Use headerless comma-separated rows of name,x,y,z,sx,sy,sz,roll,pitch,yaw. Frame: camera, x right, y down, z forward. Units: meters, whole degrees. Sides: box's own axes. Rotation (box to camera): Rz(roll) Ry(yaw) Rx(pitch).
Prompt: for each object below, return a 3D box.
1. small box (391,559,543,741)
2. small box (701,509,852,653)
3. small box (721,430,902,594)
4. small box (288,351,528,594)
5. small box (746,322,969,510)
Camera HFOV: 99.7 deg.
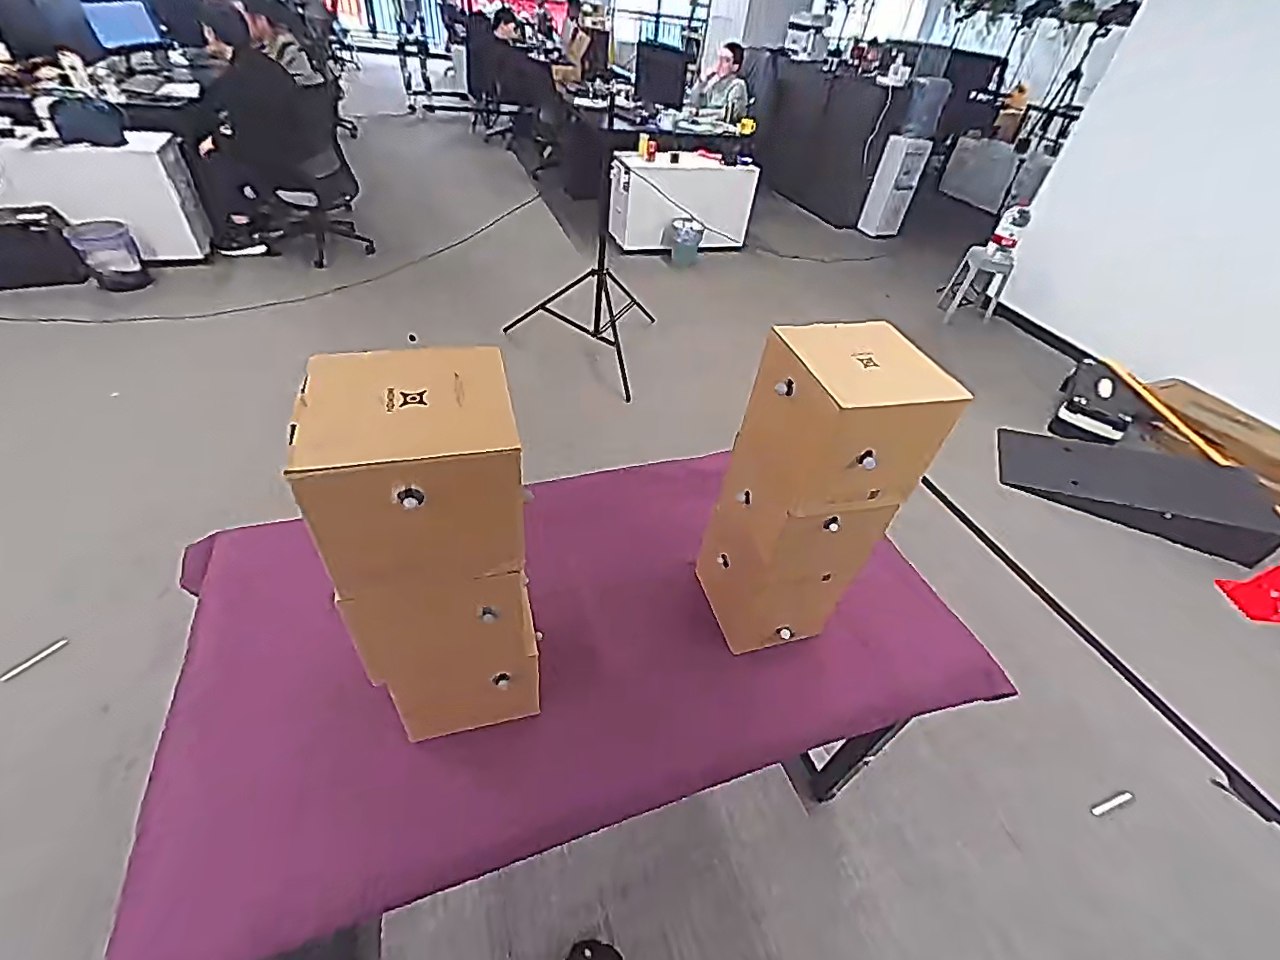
small box,-0.233,0.232,0.750,0.179,0.176,0.168,-7,44,-16
small box,0.214,0.156,0.900,0.168,0.176,0.179,-8,45,-16
small box,0.231,0.039,0.787,0.168,0.176,0.179,-6,43,-14
small box,-0.210,-0.008,0.530,0.179,0.176,0.168,-7,45,-17
small box,0.250,-0.076,0.673,0.168,0.176,0.179,-7,44,-14
